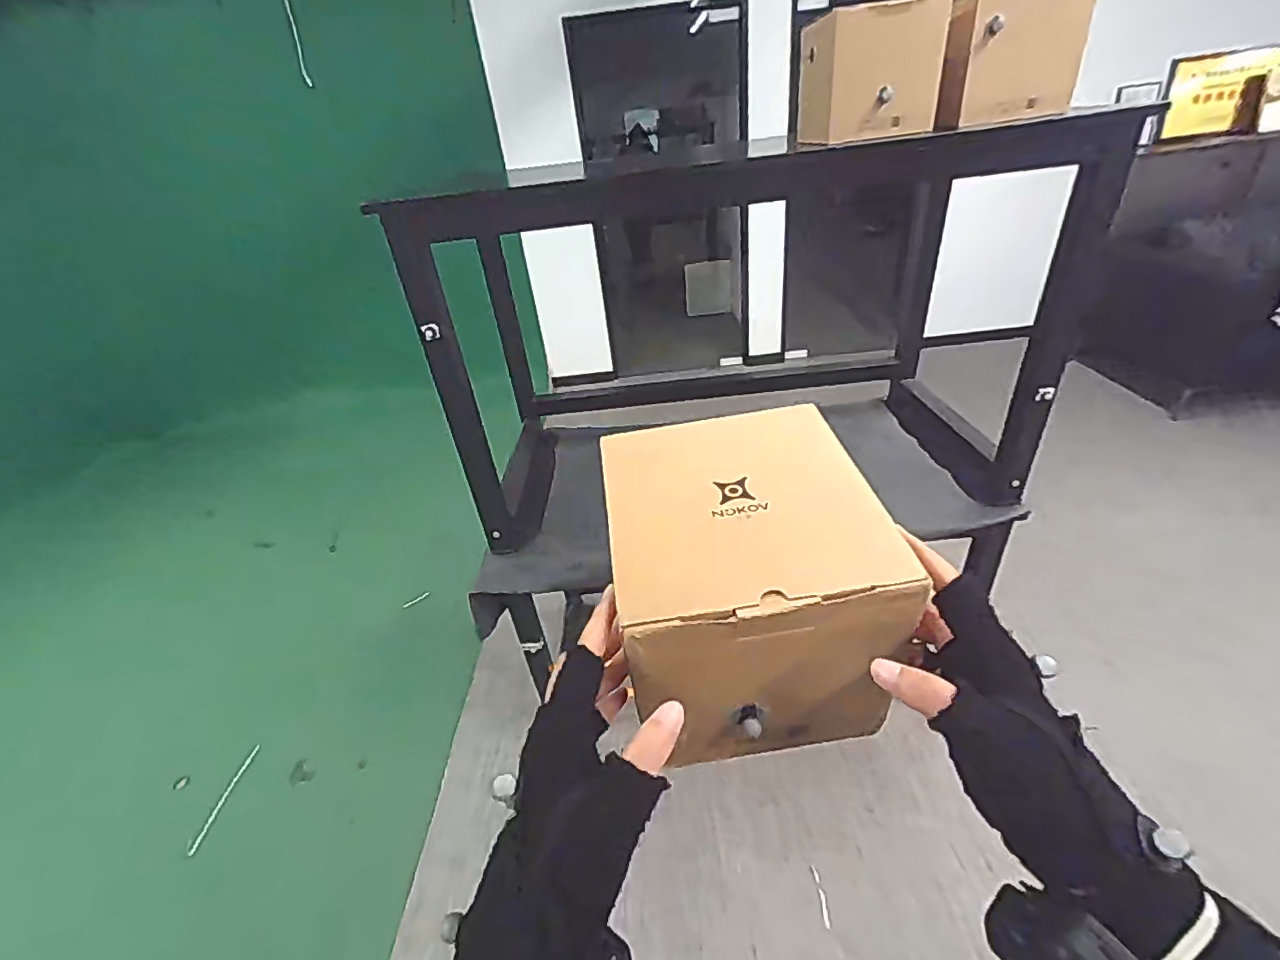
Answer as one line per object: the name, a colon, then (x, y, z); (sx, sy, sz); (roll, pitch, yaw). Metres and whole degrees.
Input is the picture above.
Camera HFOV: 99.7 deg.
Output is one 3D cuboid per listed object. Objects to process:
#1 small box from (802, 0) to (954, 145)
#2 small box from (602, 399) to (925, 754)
small box: (0.368, -0.648, 0.876); (0.168, 0.176, 0.179); (-6, 32, 2)
small box: (0.067, 0.065, 0.392); (0.168, 0.176, 0.179); (-9, 40, -1)
